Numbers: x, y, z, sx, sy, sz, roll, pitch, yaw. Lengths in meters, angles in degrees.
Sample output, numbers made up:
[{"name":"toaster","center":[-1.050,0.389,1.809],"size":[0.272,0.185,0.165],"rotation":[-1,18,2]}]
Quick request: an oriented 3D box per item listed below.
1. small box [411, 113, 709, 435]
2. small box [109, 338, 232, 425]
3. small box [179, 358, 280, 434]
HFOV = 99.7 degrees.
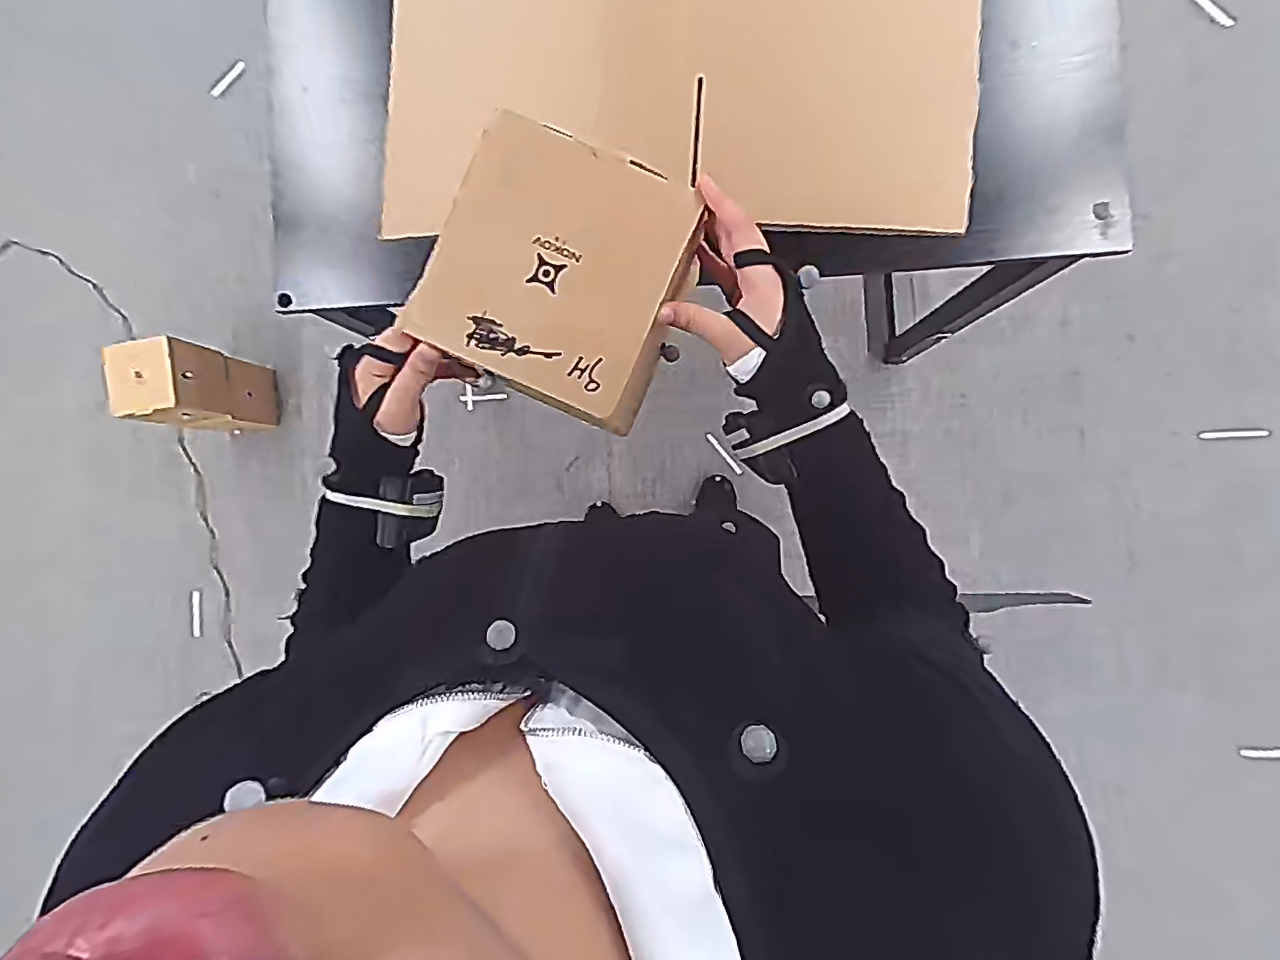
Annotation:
[{"name":"small box","center":[-0.056,-0.154,0.467],"size":[0.168,0.176,0.179],"rotation":[24,91,4]},{"name":"small box","center":[-1.175,-0.240,1.367],"size":[0.168,0.176,0.179],"rotation":[-9,87,4]},{"name":"small box","center":[-1.158,-0.231,1.528],"size":[0.168,0.176,0.179],"rotation":[-6,89,5]}]
